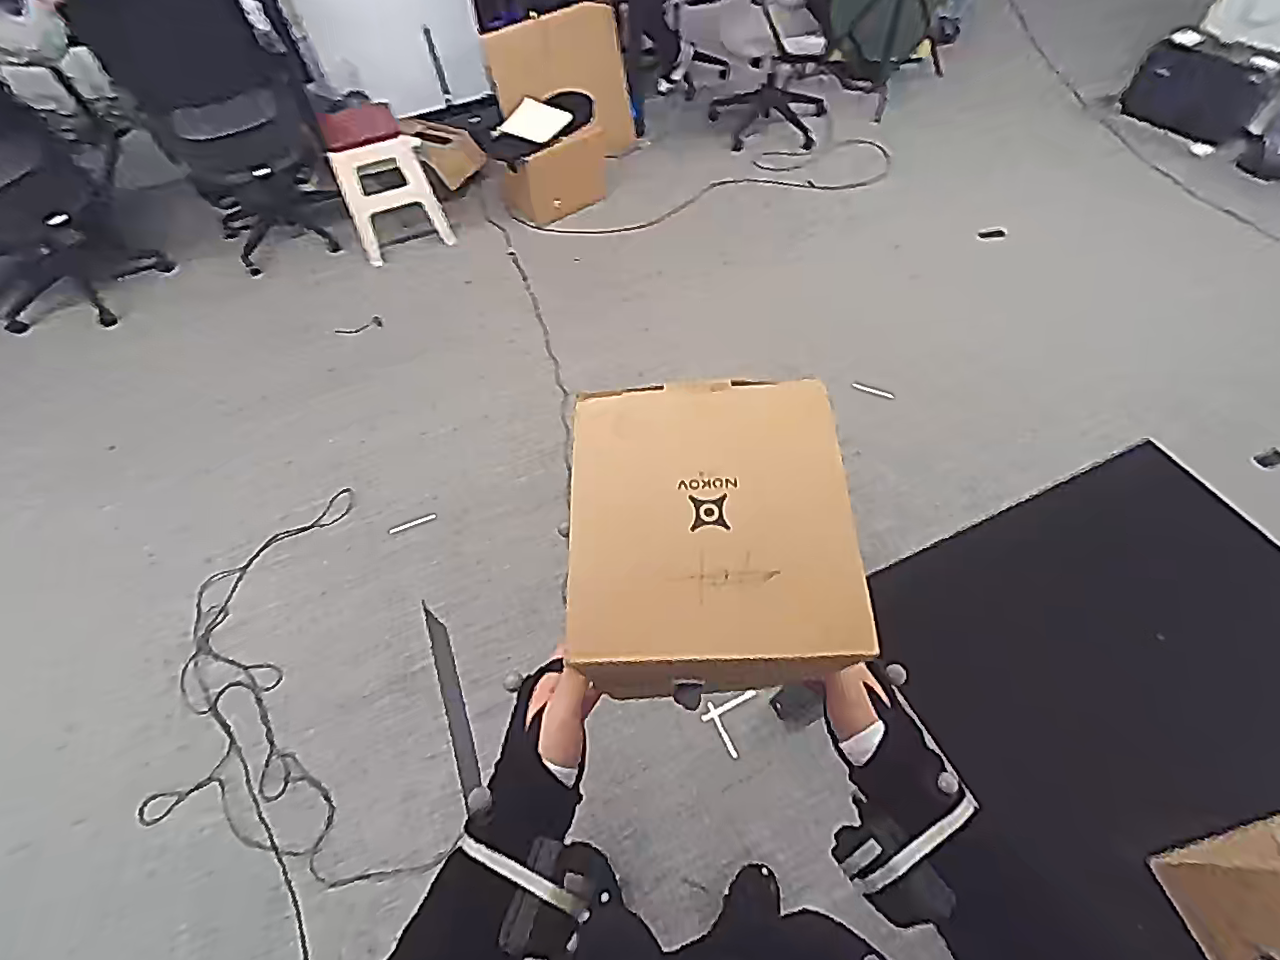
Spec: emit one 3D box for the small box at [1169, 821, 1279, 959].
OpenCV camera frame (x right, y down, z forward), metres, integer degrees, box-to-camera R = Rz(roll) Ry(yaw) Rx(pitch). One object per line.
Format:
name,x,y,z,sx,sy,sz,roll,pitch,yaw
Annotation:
small box,0.645,0.416,0.482,0.179,0.176,0.168,-12,57,-6

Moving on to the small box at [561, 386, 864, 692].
small box,0.040,0.054,0.397,0.168,0.176,0.179,-4,65,2
